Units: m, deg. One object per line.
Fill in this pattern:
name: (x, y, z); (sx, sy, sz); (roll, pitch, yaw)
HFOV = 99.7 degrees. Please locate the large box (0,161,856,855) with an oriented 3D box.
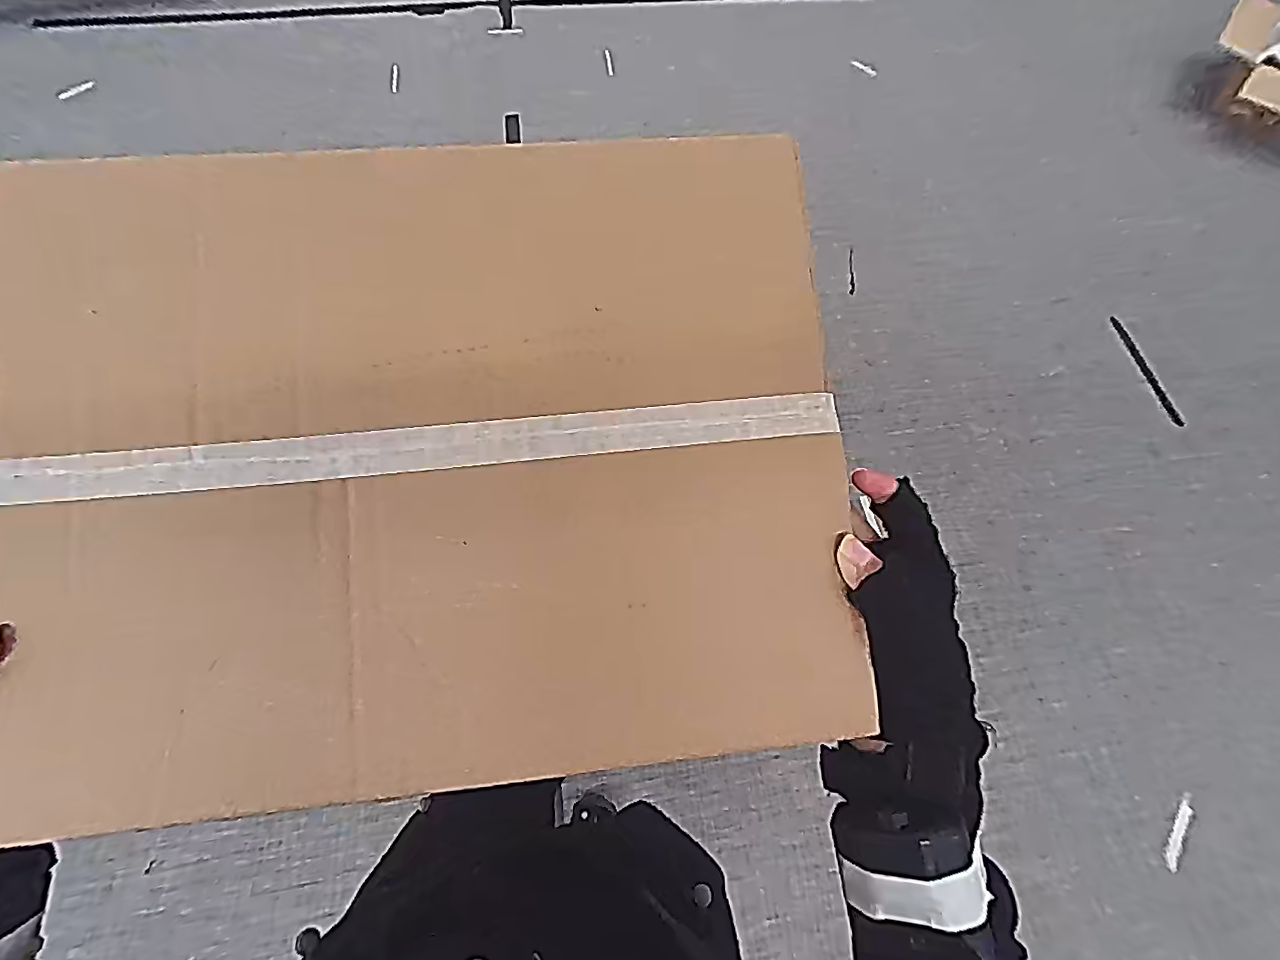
large box: (-0.111, 0.011, 0.415); (0.408, 0.320, 0.320); (-5, 83, -4)
